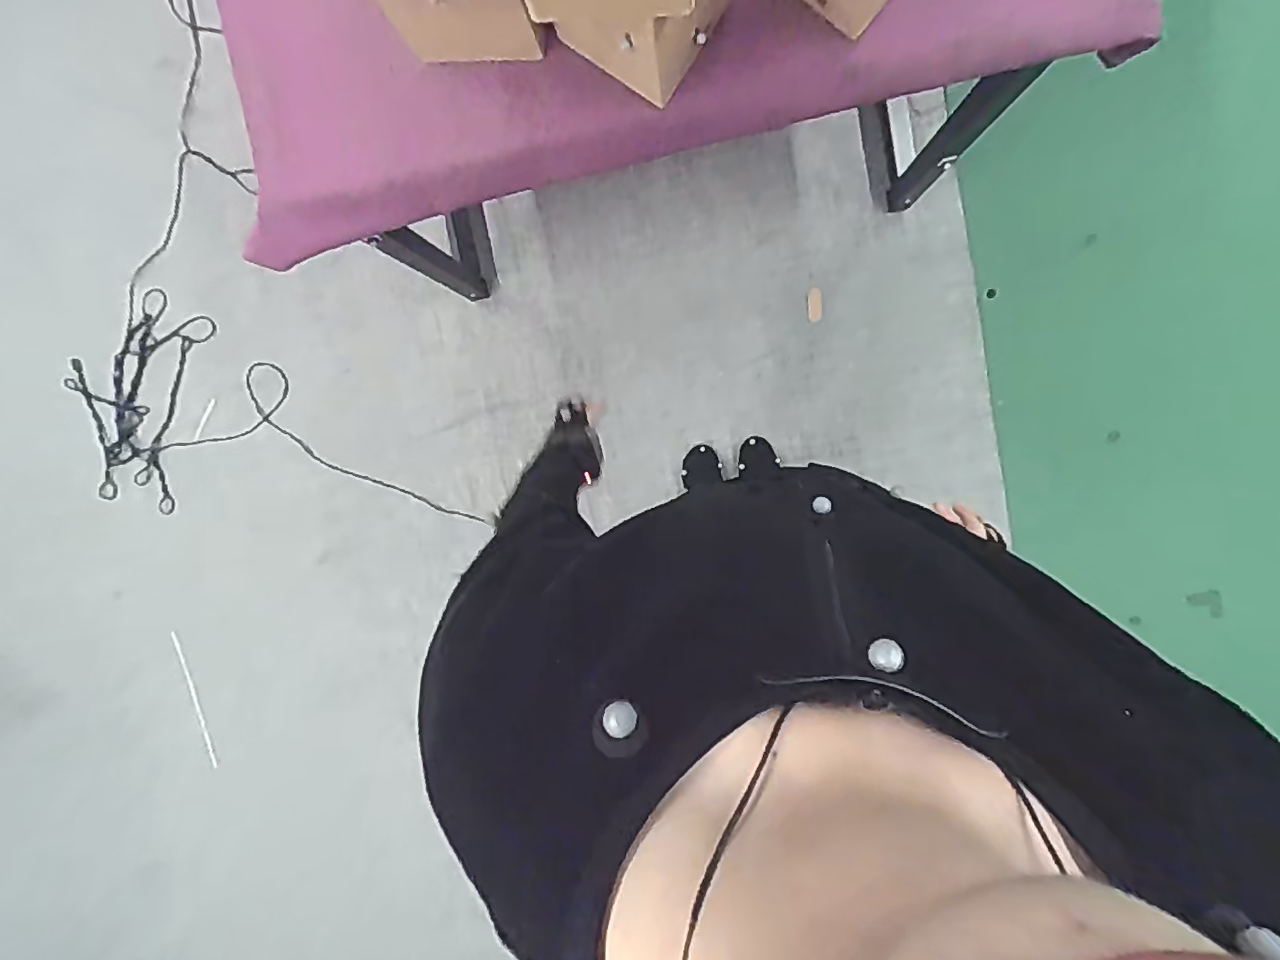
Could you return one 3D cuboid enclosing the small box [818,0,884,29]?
[{"bbox_3d":[0.260,-0.678,0.606,0.168,0.176,0.179,41,99,1],"label":"small box"}]

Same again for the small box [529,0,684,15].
[{"bbox_3d":[-0.038,-0.563,0.484,0.179,0.176,0.168,2,96,5],"label":"small box"}]

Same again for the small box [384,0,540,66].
[{"bbox_3d":[-0.223,-0.650,0.661,0.179,0.176,0.168,6,95,-1],"label":"small box"}]
